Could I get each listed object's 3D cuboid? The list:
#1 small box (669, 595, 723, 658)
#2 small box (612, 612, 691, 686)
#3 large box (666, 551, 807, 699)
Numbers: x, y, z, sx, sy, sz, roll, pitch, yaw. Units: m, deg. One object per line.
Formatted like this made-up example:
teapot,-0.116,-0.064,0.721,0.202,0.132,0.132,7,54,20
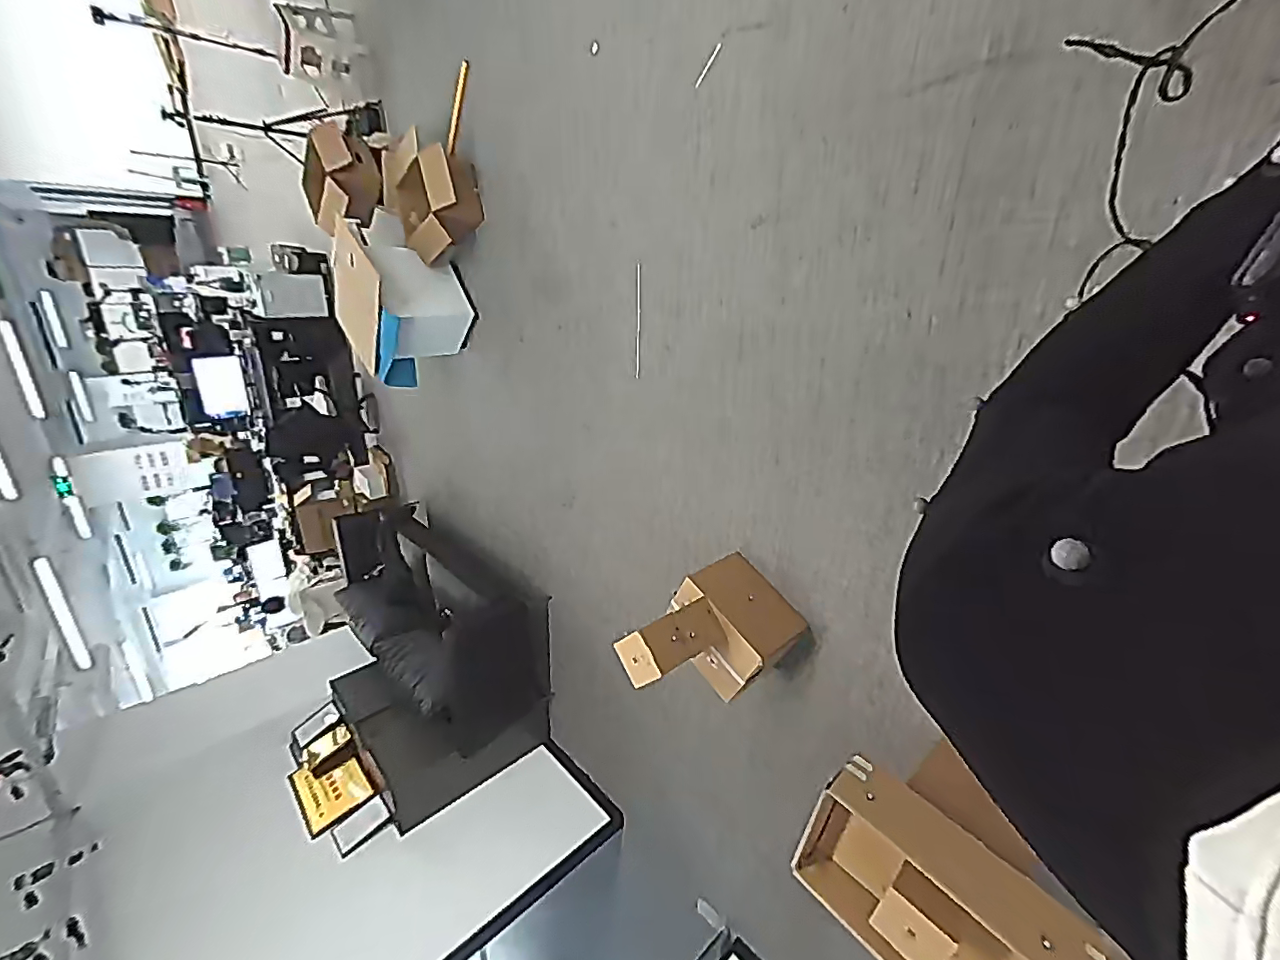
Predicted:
small box,0.164,0.539,1.952,0.179,0.176,0.168,-44,71,46
small box,0.042,0.574,1.844,0.179,0.176,0.168,-44,70,45
large box,0.360,0.552,2.115,0.408,0.320,0.320,45,133,27
